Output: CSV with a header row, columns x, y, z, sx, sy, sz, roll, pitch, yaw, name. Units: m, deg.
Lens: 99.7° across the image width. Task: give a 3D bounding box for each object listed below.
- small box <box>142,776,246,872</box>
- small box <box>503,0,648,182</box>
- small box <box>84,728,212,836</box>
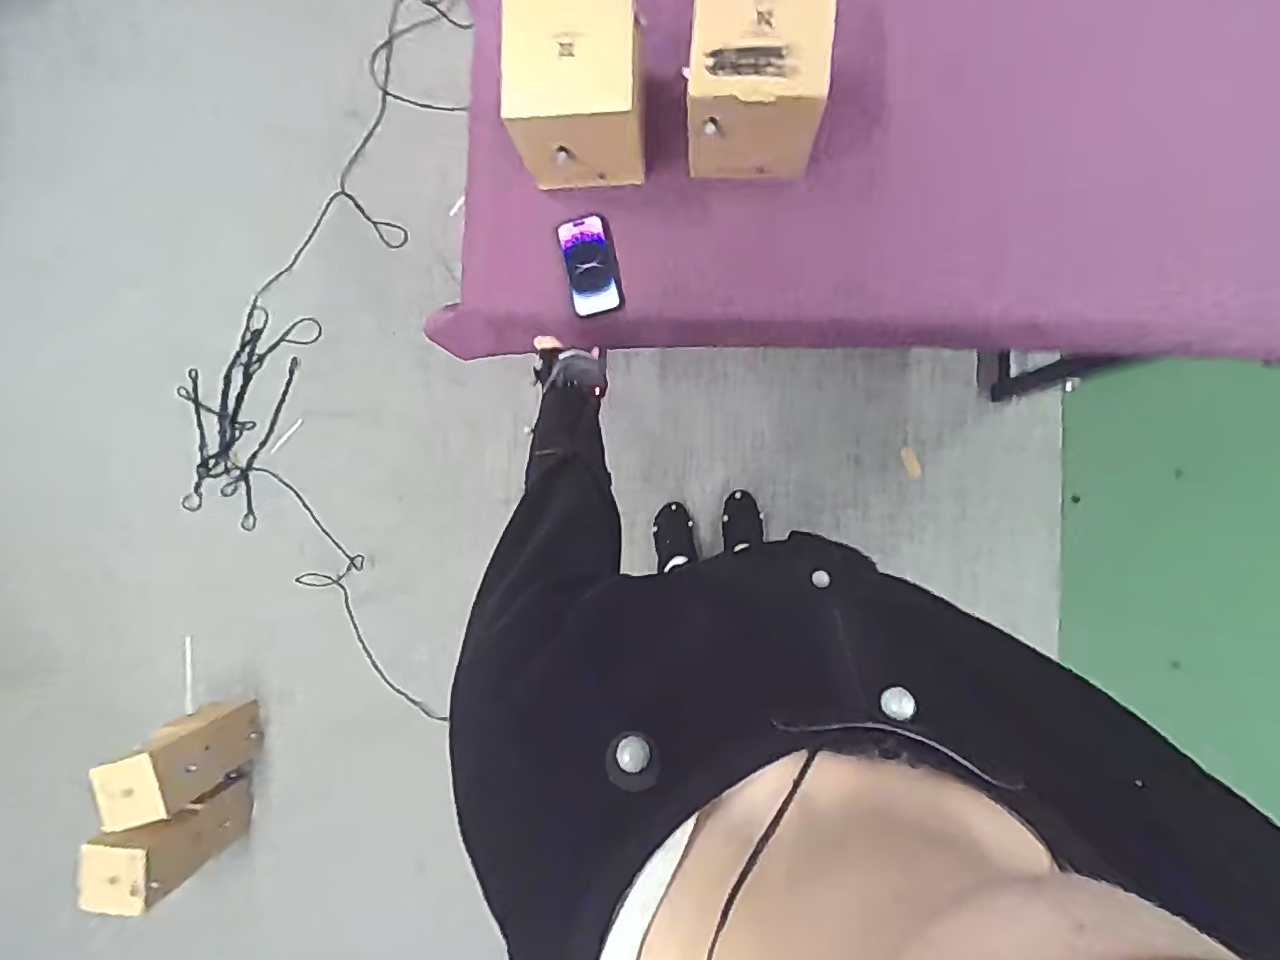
x,y,z,sx,sy,sz,roll,pitch,yaw,name
-1.275,0.979,1.556,0.168,0.176,0.179,1,90,7,small box
-0.078,-0.532,0.740,0.168,0.176,0.179,0,88,6,small box
-1.253,0.769,1.395,0.179,0.176,0.168,-17,88,6,small box
